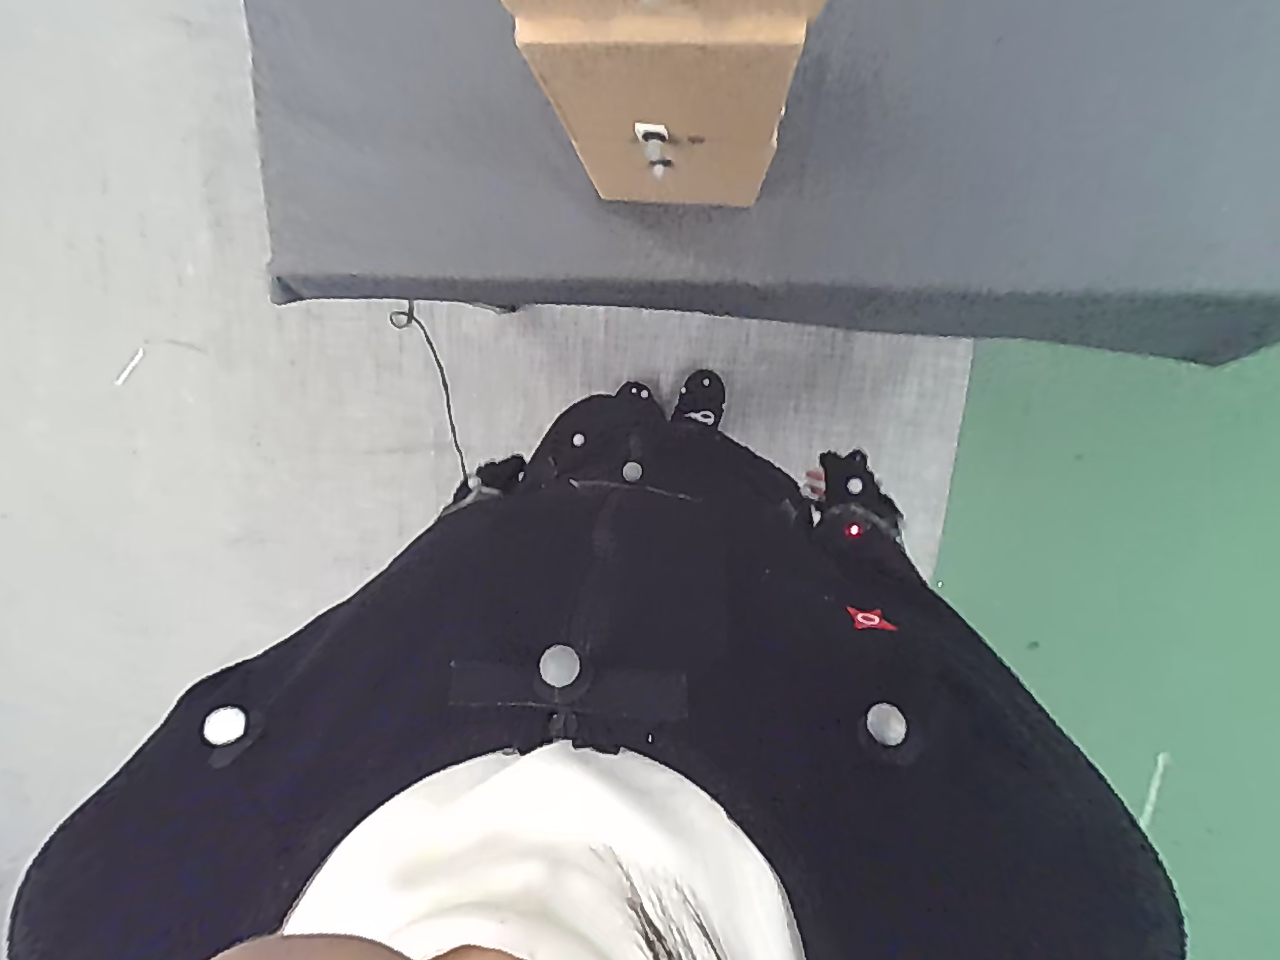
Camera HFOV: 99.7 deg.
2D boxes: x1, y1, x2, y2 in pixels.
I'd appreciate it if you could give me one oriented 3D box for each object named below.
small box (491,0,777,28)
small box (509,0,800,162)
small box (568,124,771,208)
[{"bbox_3d":[-0.001,-0.315,0.205,0.179,0.176,0.168,6,102,6],"label":"small box"},{"bbox_3d":[0.020,-0.342,0.365,0.168,0.176,0.179,5,103,7],"label":"small box"},{"bbox_3d":[0.039,-0.376,0.522,0.179,0.176,0.168,5,102,5],"label":"small box"}]
